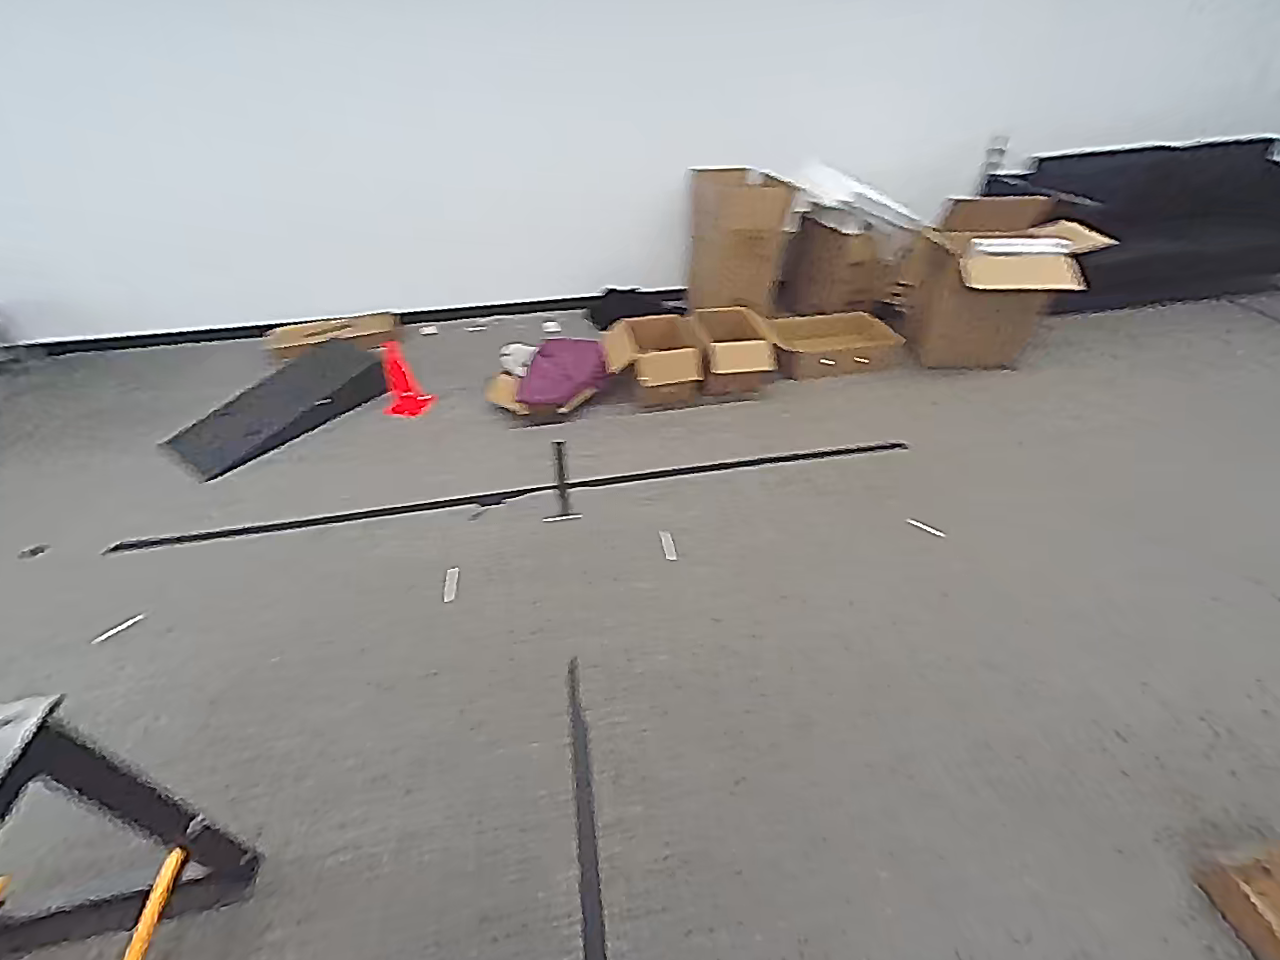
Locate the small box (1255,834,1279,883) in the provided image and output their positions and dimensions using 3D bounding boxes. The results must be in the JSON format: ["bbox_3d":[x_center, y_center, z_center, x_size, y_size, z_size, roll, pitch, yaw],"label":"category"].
[{"bbox_3d":[1.439,0.791,1.091,0.179,0.176,0.168,-8,41,-8],"label":"small box"}]
